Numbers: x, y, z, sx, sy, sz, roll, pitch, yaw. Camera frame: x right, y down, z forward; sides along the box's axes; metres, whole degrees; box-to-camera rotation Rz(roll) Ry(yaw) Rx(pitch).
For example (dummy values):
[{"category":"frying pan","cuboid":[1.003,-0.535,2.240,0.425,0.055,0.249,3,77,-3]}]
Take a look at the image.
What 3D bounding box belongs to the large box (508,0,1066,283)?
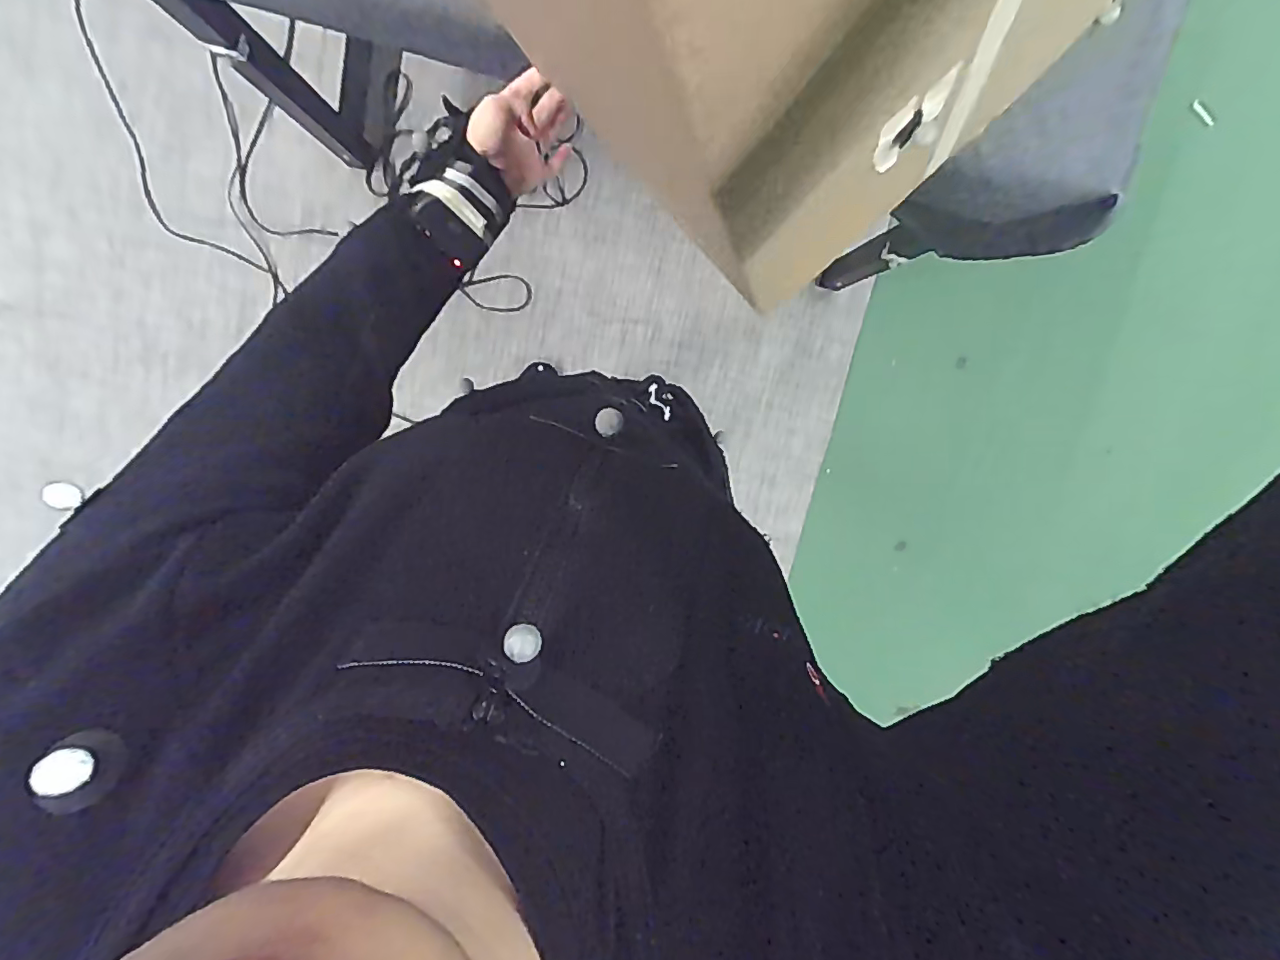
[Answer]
[{"category":"large box","cuboid":[0.059,-0.353,0.243,0.320,0.408,0.320,-42,83,16]}]
